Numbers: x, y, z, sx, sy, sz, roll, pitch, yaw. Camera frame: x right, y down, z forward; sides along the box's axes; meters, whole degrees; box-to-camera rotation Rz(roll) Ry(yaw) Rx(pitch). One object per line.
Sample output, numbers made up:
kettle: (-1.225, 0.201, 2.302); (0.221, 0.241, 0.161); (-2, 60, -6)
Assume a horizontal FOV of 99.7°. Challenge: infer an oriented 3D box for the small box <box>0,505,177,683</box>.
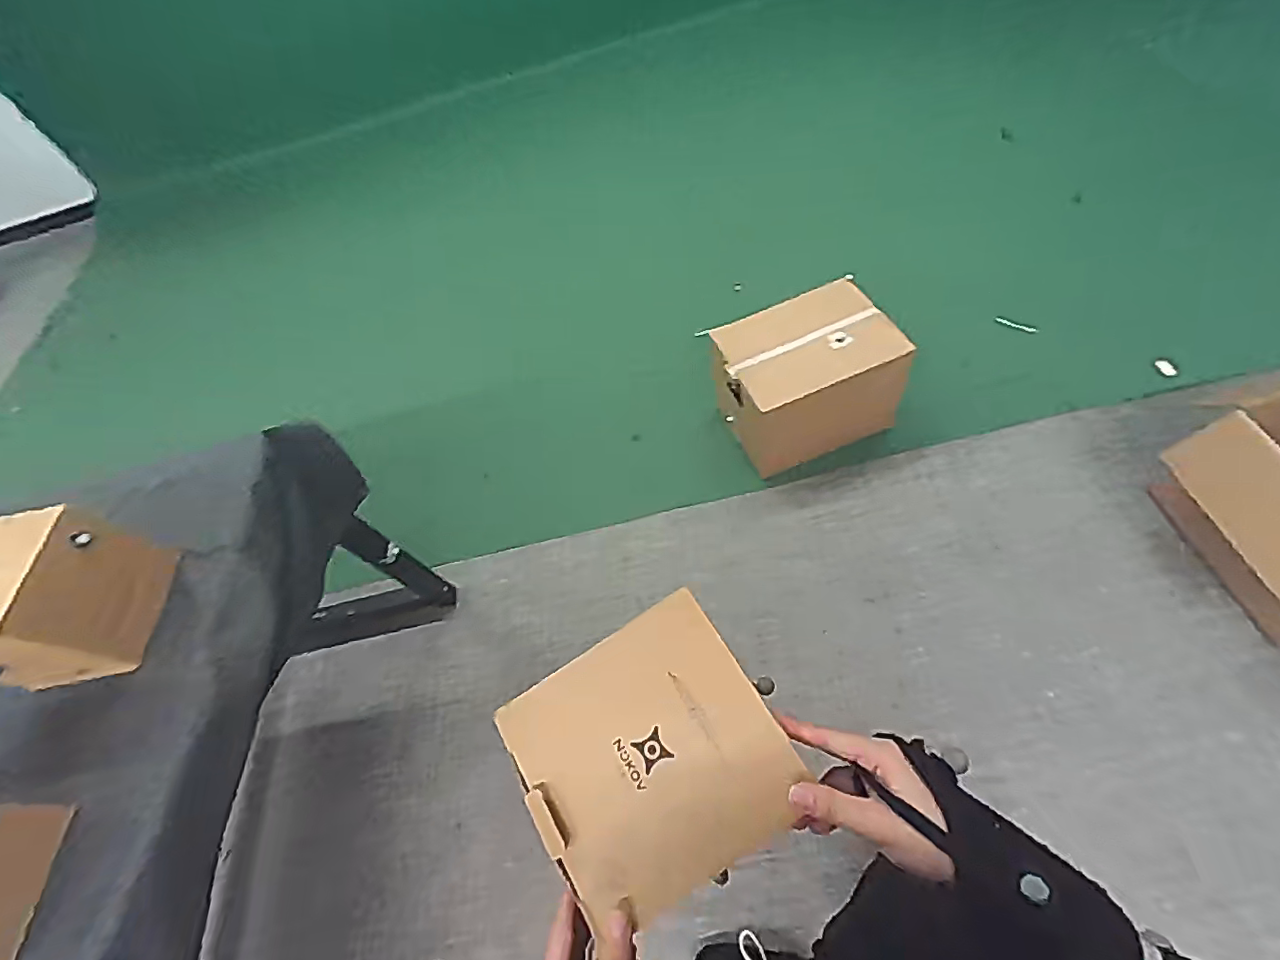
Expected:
small box: (-0.776, 0.160, 0.716); (0.168, 0.176, 0.179); (-12, 56, 6)
